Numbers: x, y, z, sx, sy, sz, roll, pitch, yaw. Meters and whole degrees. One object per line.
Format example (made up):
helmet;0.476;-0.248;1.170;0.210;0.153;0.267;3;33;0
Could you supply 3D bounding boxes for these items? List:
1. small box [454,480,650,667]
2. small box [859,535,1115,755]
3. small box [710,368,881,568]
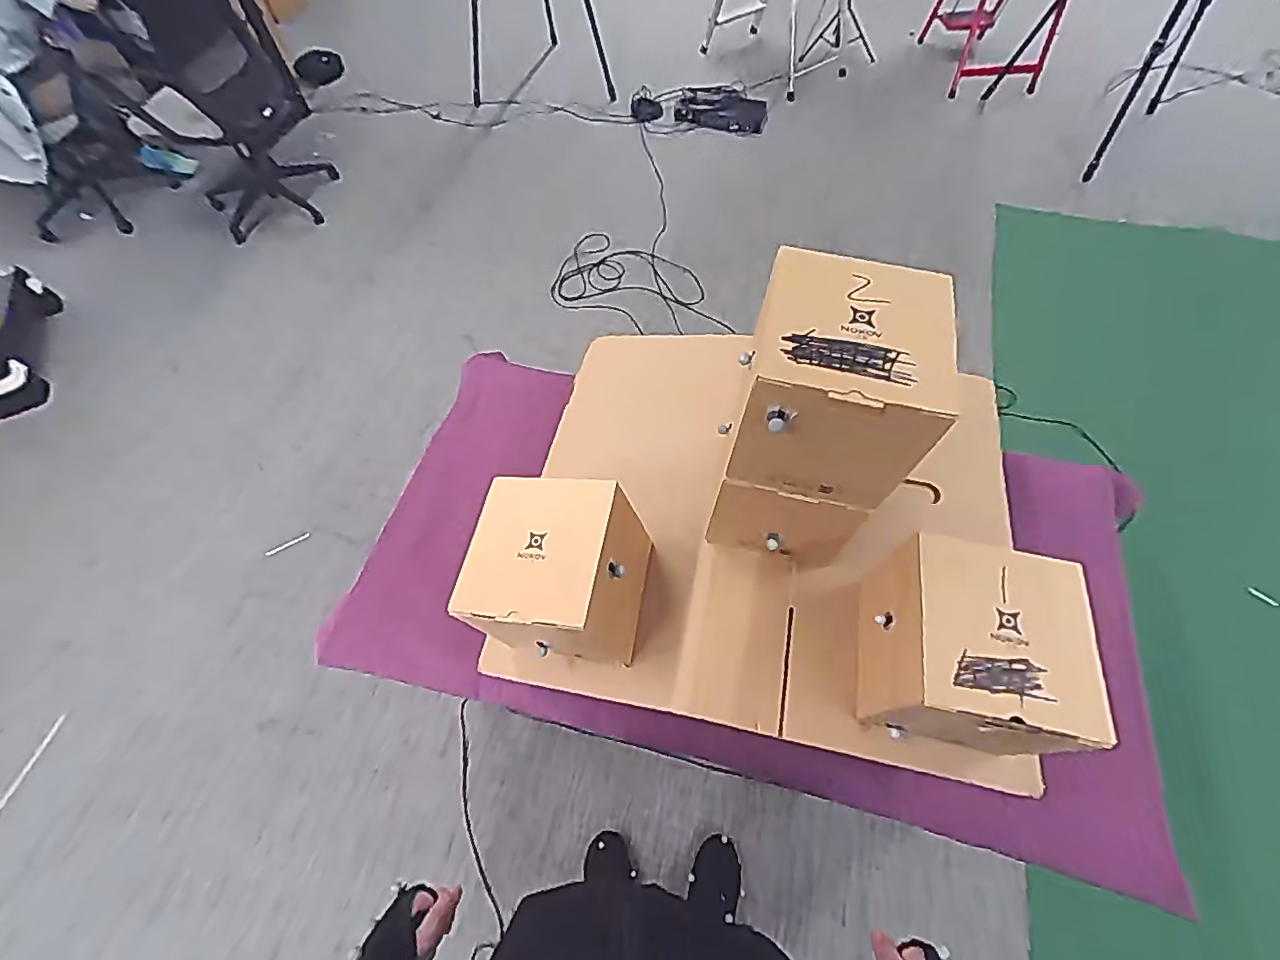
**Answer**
small box;-0.092;0.117;0.669;0.168;0.176;0.179;2;61;18
small box;0.350;0.185;0.585;0.168;0.176;0.179;12;60;5
small box;0.191;-0.010;0.690;0.168;0.176;0.179;12;61;6
